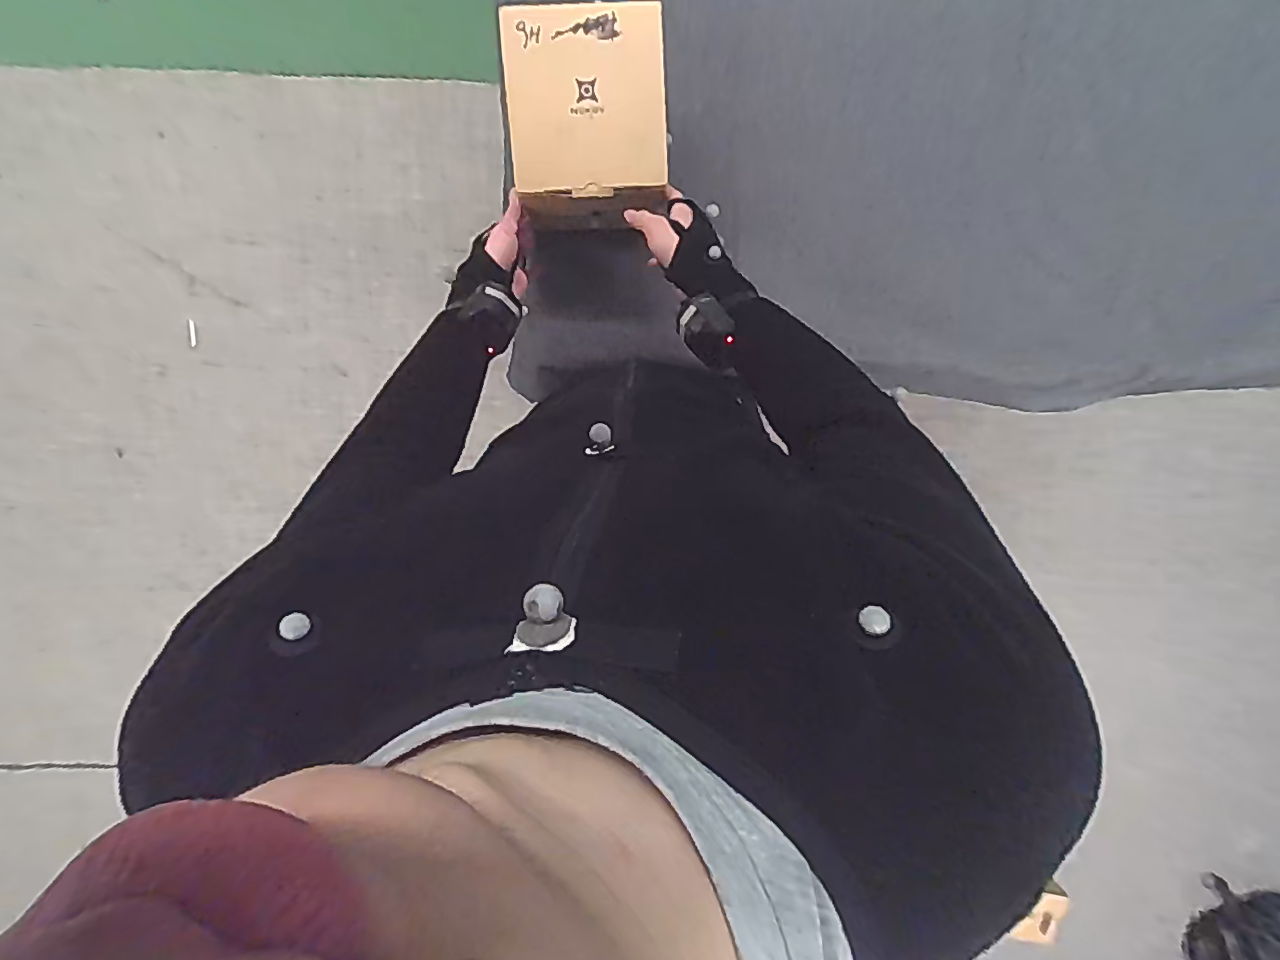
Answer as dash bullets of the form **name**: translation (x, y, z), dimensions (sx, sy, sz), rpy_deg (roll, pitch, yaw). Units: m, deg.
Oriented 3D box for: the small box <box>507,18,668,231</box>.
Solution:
- **small box**: translation (-0.056, -0.408, 0.652), dimensions (0.168, 0.176, 0.179), rpy_deg (-4, 104, -3)
